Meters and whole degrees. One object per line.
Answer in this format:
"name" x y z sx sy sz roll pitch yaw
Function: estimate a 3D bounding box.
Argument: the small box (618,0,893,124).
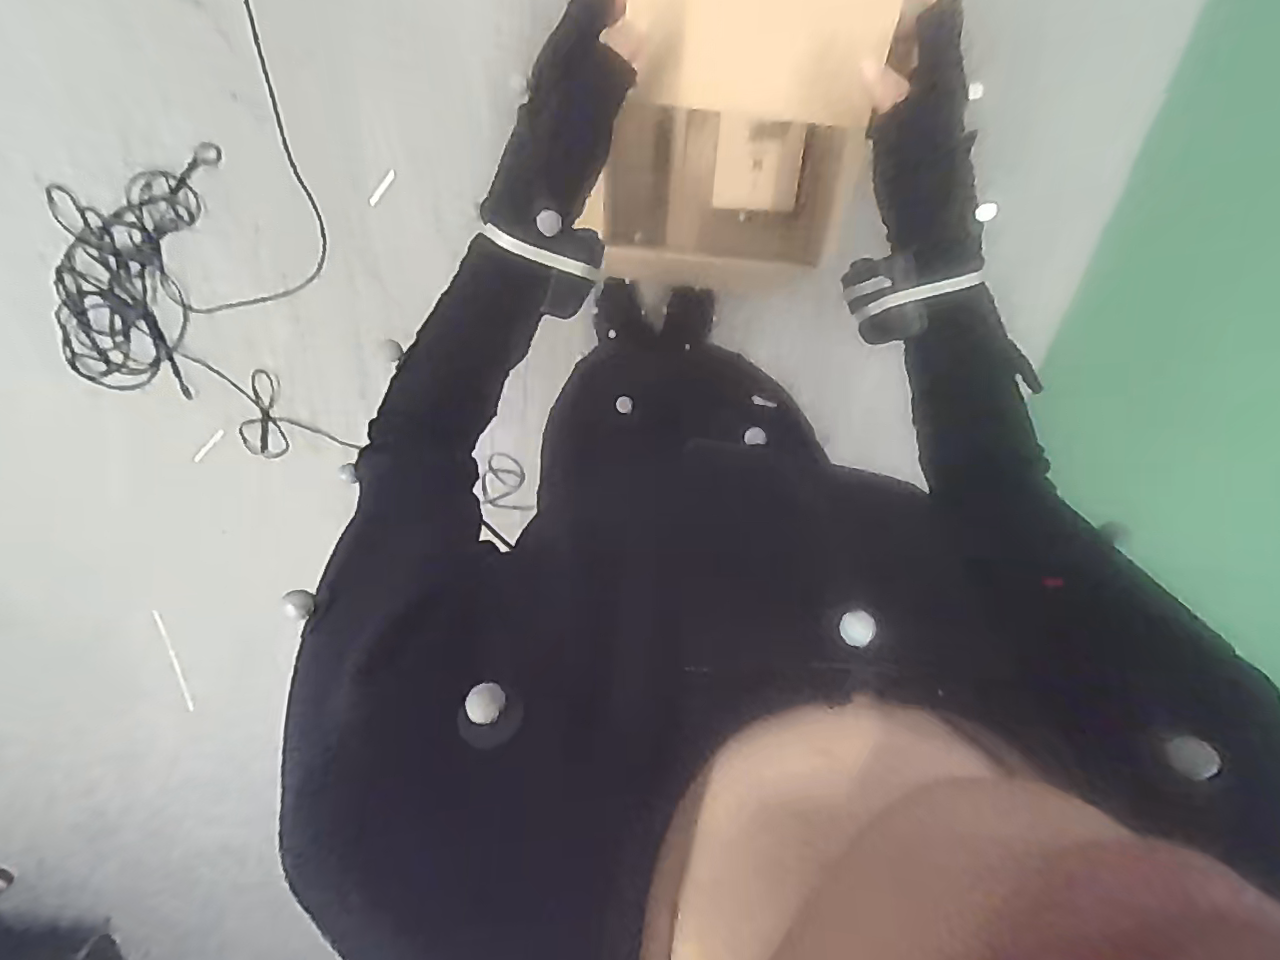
"small box" 0.074 -0.361 0.371 0.168 0.176 0.179 3 126 -3
